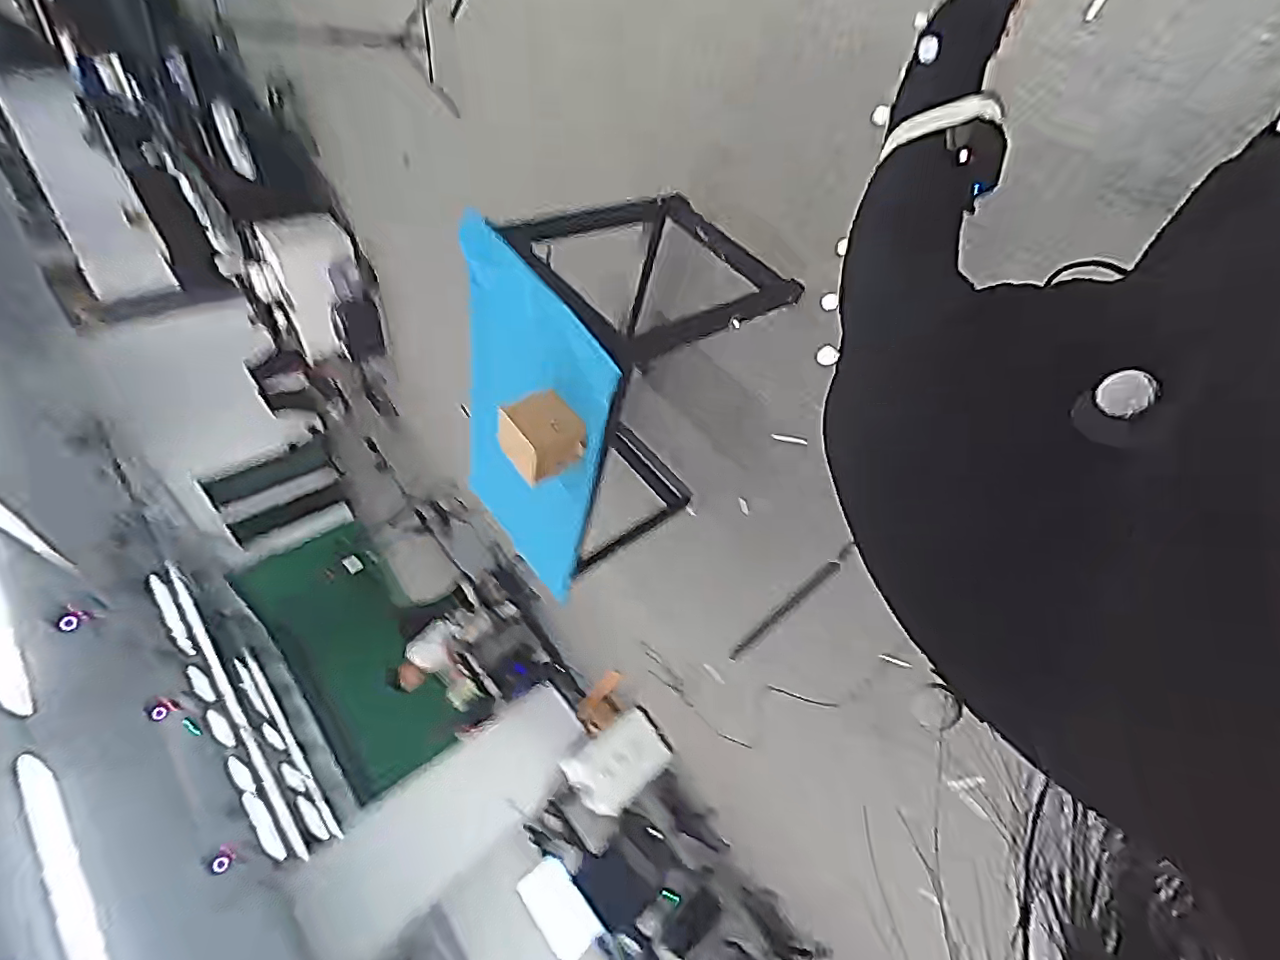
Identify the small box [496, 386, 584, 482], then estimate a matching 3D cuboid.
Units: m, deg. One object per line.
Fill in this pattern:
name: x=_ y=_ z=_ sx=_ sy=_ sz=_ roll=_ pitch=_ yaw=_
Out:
small box: x=-0.281 y=-0.125 z=1.497 sx=0.179 sy=0.176 sz=0.168 roll=48 pitch=145 yaw=21
